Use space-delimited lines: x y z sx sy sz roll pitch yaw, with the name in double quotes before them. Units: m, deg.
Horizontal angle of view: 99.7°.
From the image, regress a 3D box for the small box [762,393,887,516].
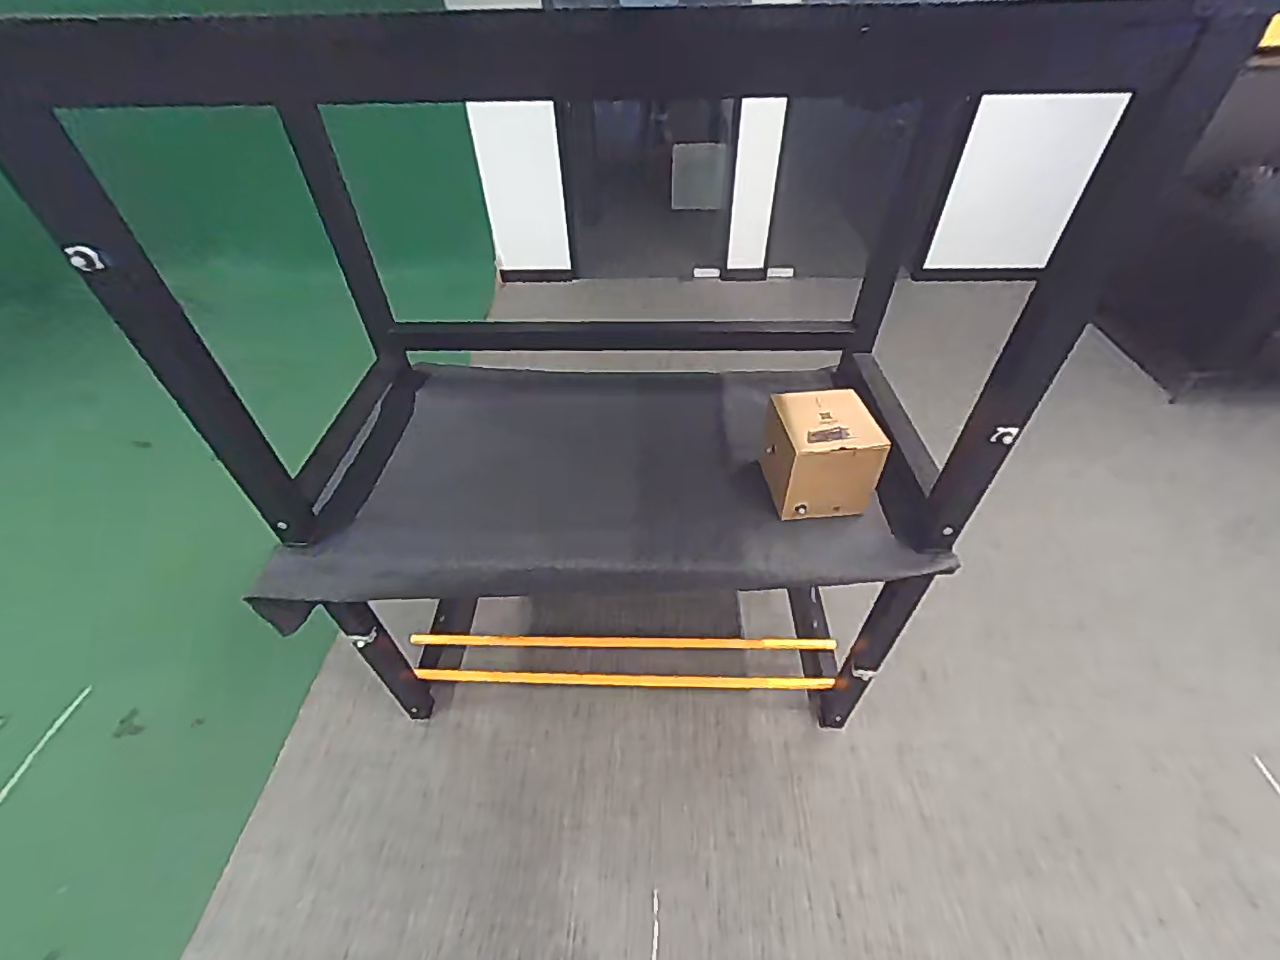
"small box" 0.338 -0.044 1.029 0.168 0.176 0.179 -4 42 -2
